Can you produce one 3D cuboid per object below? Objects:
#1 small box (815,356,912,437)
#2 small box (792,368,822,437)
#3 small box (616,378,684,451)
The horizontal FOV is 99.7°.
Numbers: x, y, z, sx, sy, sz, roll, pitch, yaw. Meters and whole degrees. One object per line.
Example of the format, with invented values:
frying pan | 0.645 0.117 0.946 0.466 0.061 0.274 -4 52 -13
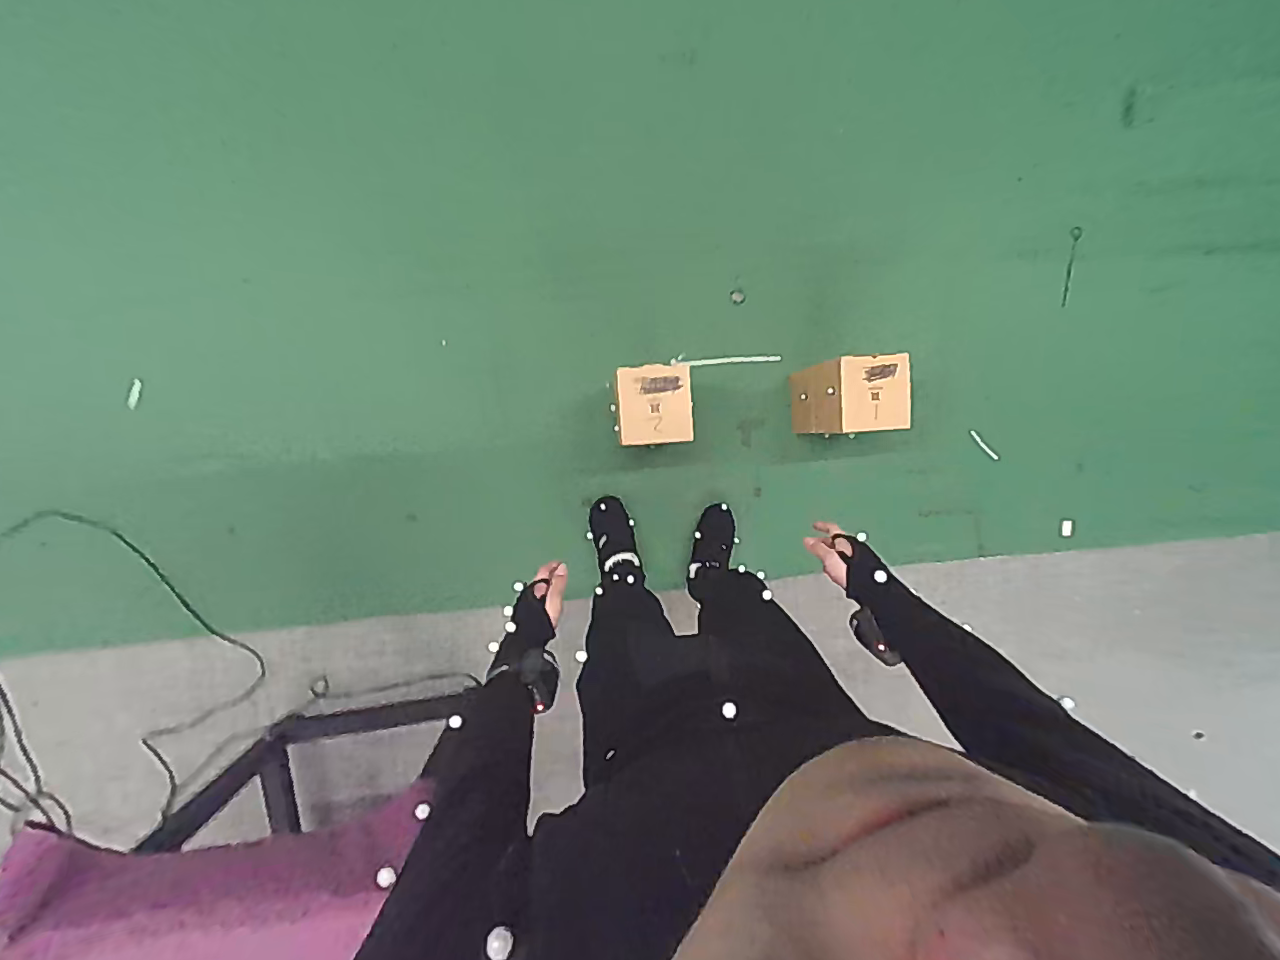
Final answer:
small box | 0.537 -0.199 1.318 0.168 0.176 0.179 -4 94 -4
small box | 0.523 -0.209 1.481 0.168 0.176 0.179 -4 94 -4
small box | 0.023 -0.173 1.452 0.168 0.176 0.179 -5 93 -3
